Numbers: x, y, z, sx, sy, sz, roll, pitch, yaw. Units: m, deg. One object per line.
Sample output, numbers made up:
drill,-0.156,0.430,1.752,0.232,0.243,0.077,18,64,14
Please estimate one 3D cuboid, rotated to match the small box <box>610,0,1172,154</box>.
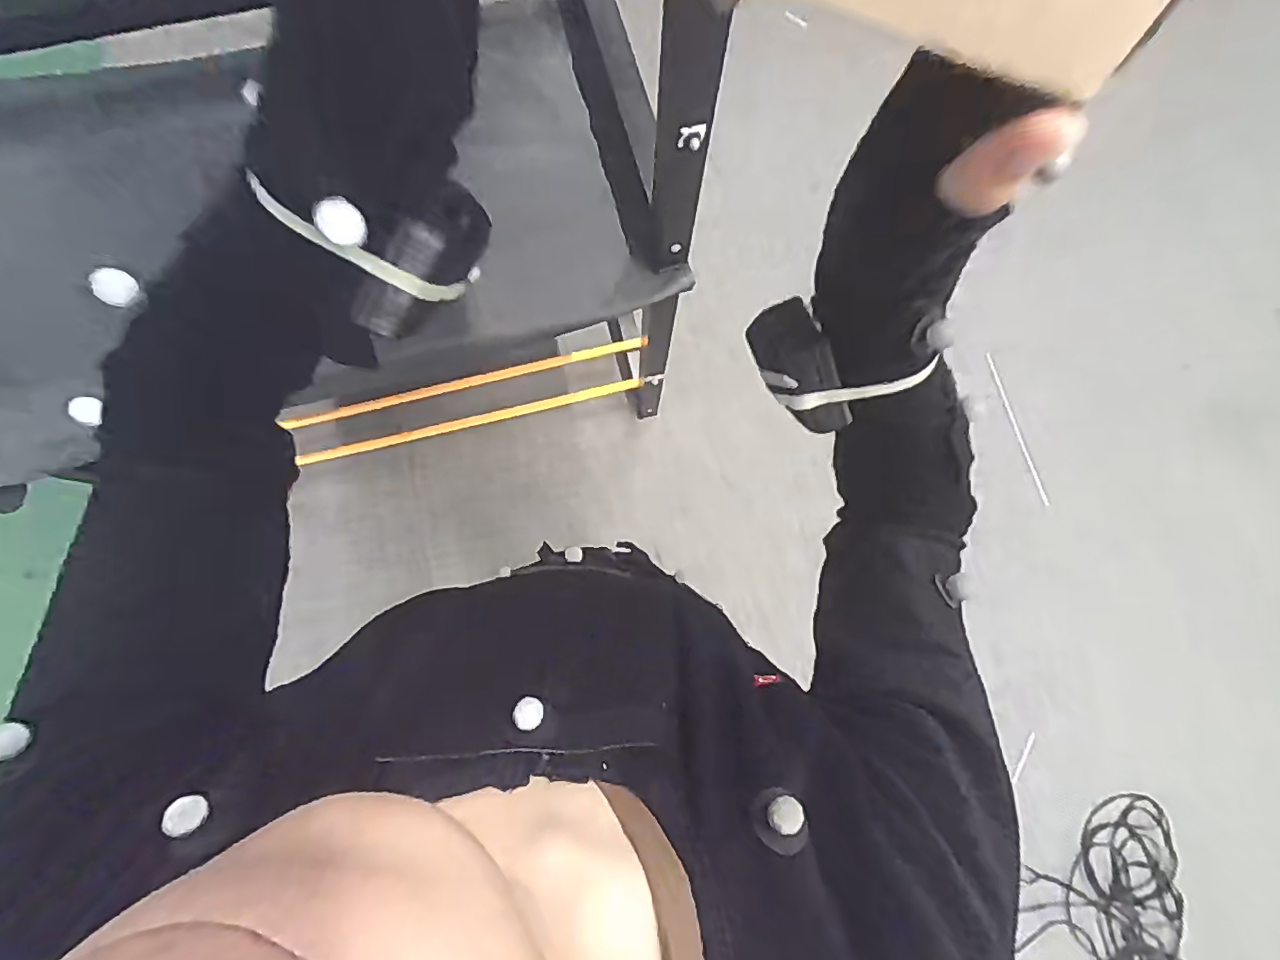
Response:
small box,0.063,-0.219,0.123,0.168,0.179,0.176,15,48,-6
